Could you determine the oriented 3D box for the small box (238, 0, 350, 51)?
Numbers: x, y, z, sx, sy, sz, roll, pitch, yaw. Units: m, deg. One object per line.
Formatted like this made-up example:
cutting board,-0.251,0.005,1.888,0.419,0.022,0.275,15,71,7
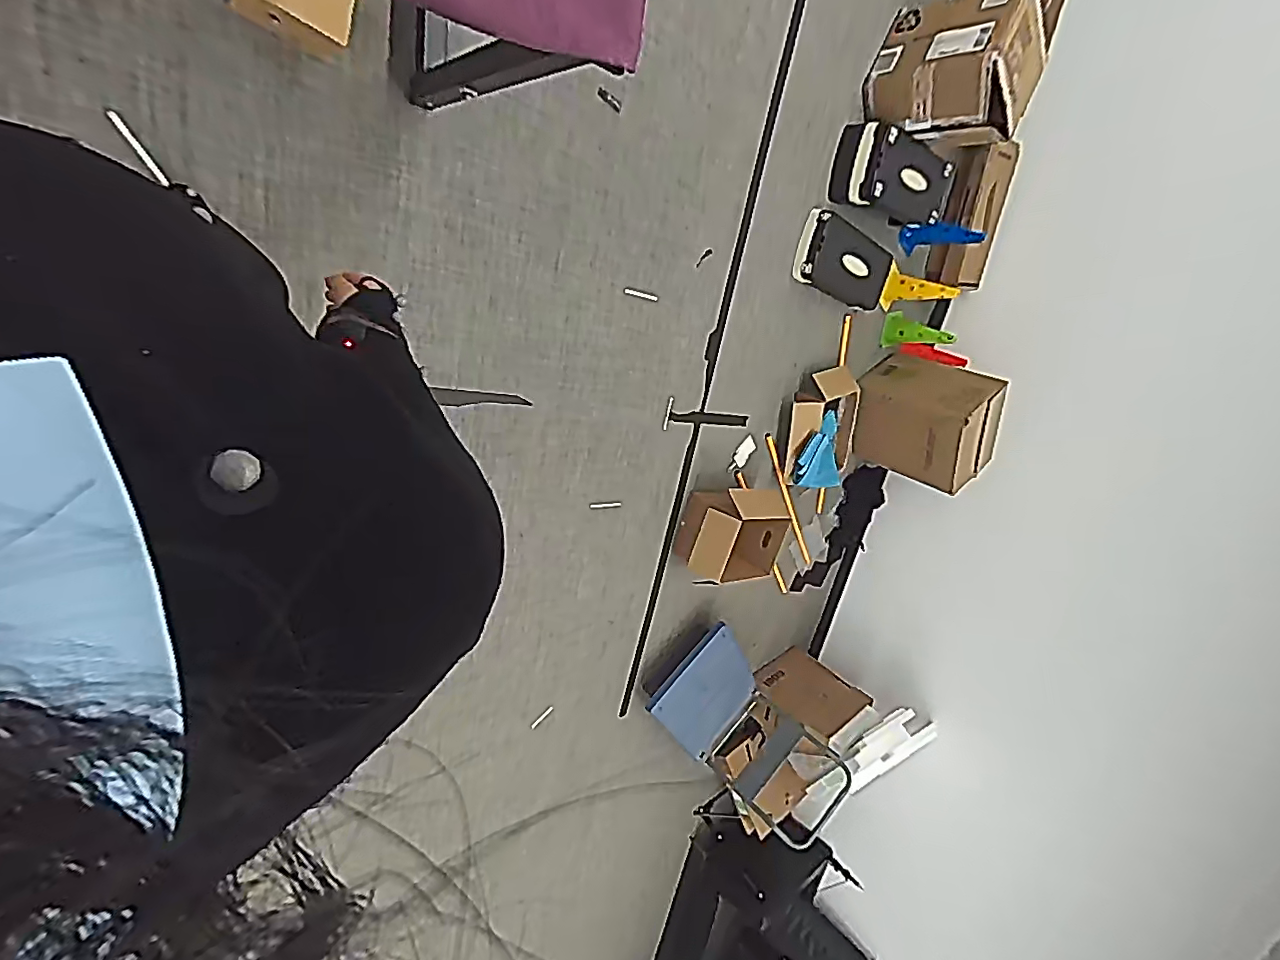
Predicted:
small box,-0.637,-0.938,0.993,0.168,0.176,0.179,7,106,-45
